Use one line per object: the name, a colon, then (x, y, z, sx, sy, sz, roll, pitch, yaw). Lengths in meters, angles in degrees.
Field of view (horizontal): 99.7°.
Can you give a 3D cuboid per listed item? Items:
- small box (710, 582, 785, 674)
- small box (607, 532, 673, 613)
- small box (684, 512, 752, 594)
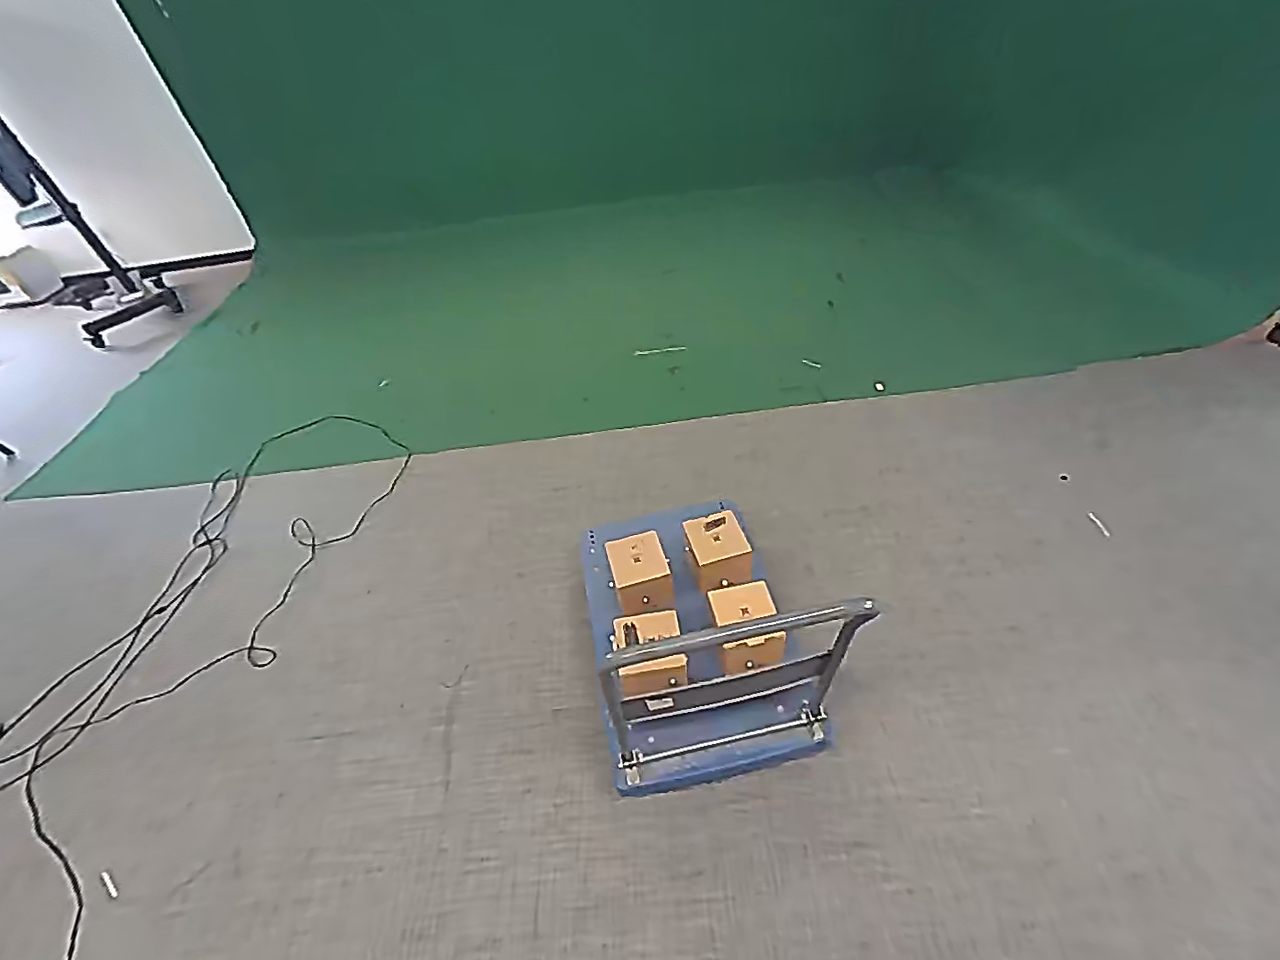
small box: (0.296, 0.419, 1.530, 0.168, 0.176, 0.179, -11, 45, -3)
small box: (0.003, 0.297, 1.693, 0.168, 0.176, 0.179, -14, 45, -7)
small box: (0.245, 0.233, 1.720, 0.168, 0.176, 0.179, -15, 46, -5)
